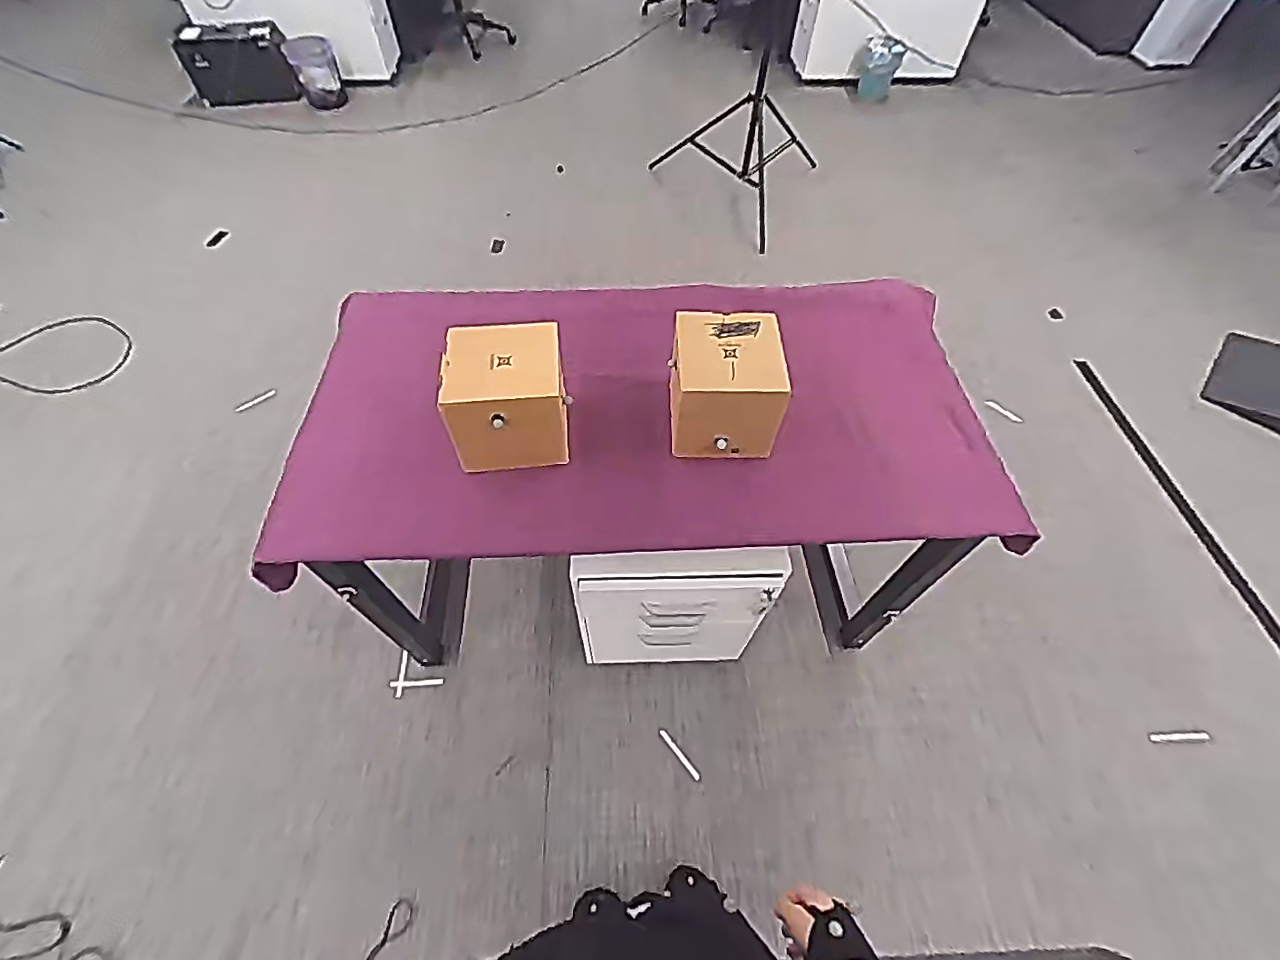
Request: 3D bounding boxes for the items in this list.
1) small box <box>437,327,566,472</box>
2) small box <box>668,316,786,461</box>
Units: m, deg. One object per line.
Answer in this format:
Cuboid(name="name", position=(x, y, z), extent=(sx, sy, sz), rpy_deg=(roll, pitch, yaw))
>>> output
Cuboid(name="small box", position=(-0.215, -0.129, 0.891), extent=(0.179, 0.176, 0.168), rpy_deg=(-5, 55, -4))
Cuboid(name="small box", position=(0.135, -0.152, 0.912), extent=(0.168, 0.176, 0.179), rpy_deg=(0, 56, -1))
